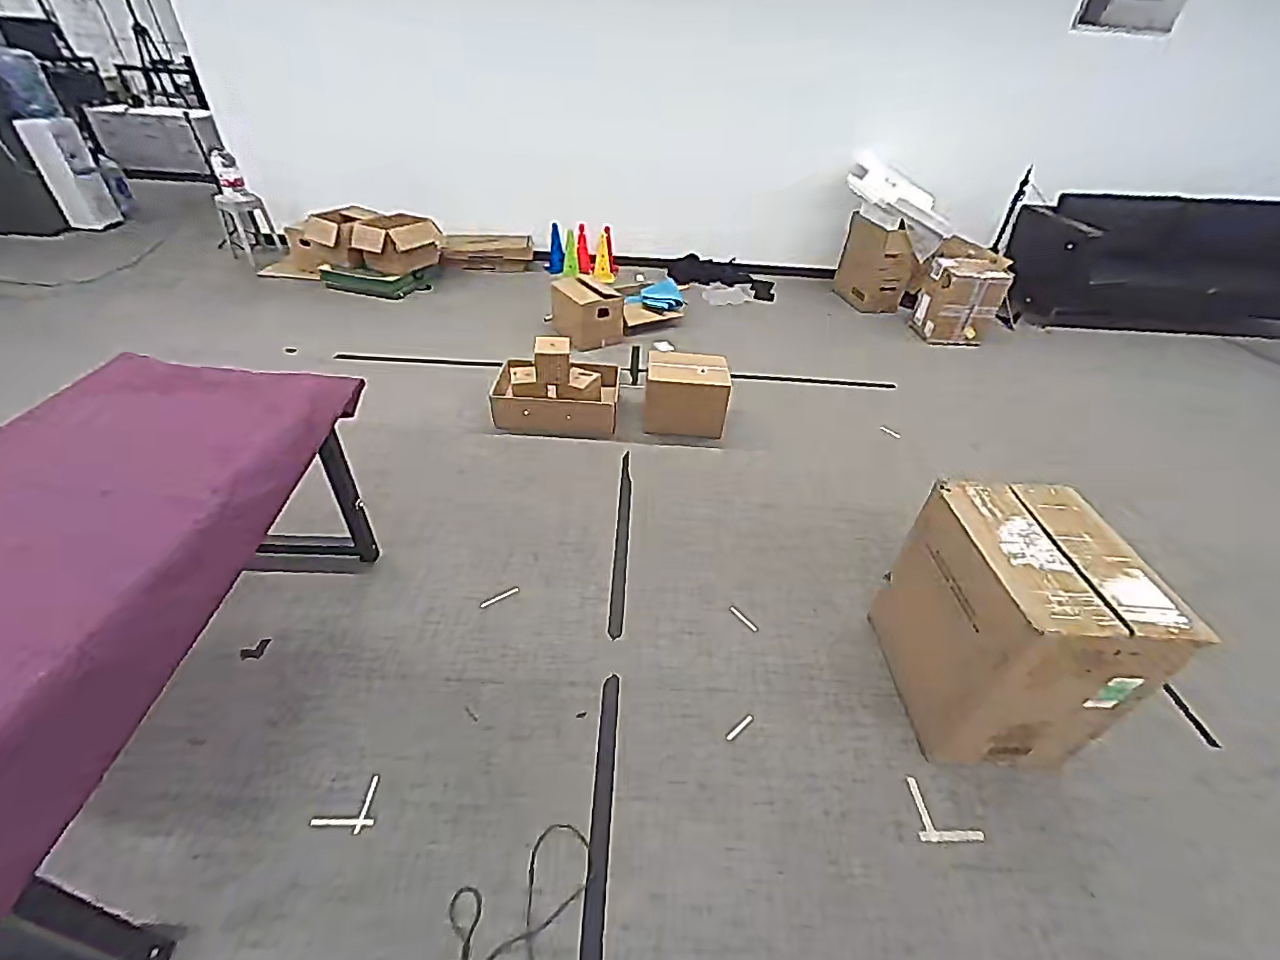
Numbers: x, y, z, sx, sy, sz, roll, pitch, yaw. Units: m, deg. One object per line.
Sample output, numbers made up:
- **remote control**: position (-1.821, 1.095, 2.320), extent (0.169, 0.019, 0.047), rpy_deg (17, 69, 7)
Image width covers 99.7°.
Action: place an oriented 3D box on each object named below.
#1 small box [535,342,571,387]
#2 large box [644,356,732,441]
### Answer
- **small box**: position (-0.426, -0.569, 2.667), extent (0.168, 0.176, 0.179), rpy_deg (-1, 38, -8)
- **large box**: position (0.233, -0.419, 2.774), extent (0.408, 0.320, 0.320), rpy_deg (4, 39, -2)
